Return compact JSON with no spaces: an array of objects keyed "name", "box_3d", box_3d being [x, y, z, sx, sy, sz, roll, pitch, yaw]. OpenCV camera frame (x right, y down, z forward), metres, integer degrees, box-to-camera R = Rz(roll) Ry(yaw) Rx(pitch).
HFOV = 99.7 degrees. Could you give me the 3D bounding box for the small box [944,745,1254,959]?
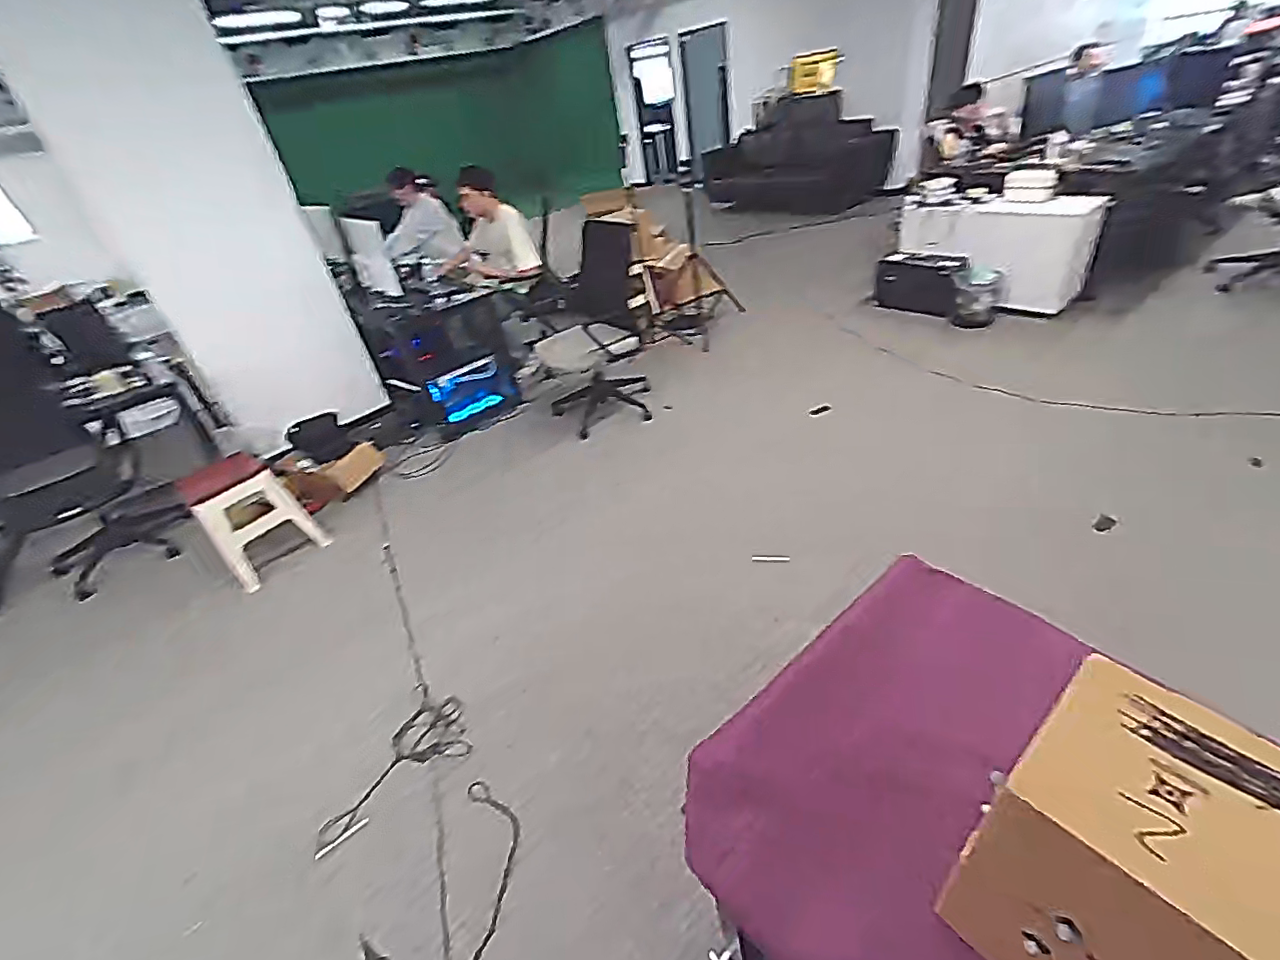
[{"name":"small box","box_3d":[0.445,0.426,0.552,0.168,0.176,0.179,-32,41,-26]}]
